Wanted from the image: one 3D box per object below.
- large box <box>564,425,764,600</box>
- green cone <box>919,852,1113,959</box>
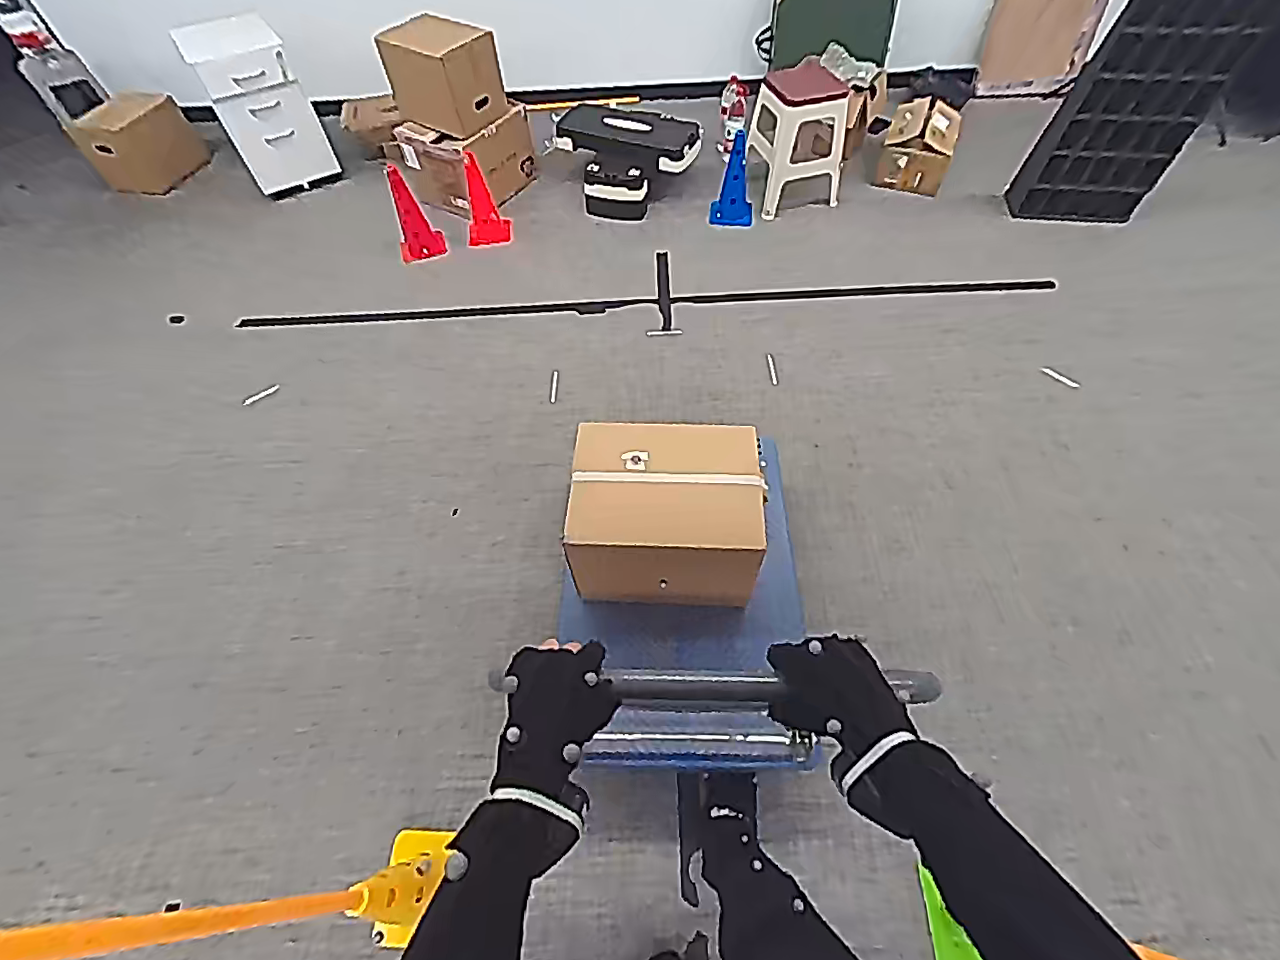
[{"bbox_3d":[0.059,0.084,1.276,0.408,0.320,0.320,1,56,4],"label":"large box"},{"bbox_3d":[0.682,0.784,0.954,0.202,0.368,0.200,2,56,2],"label":"green cone"}]
